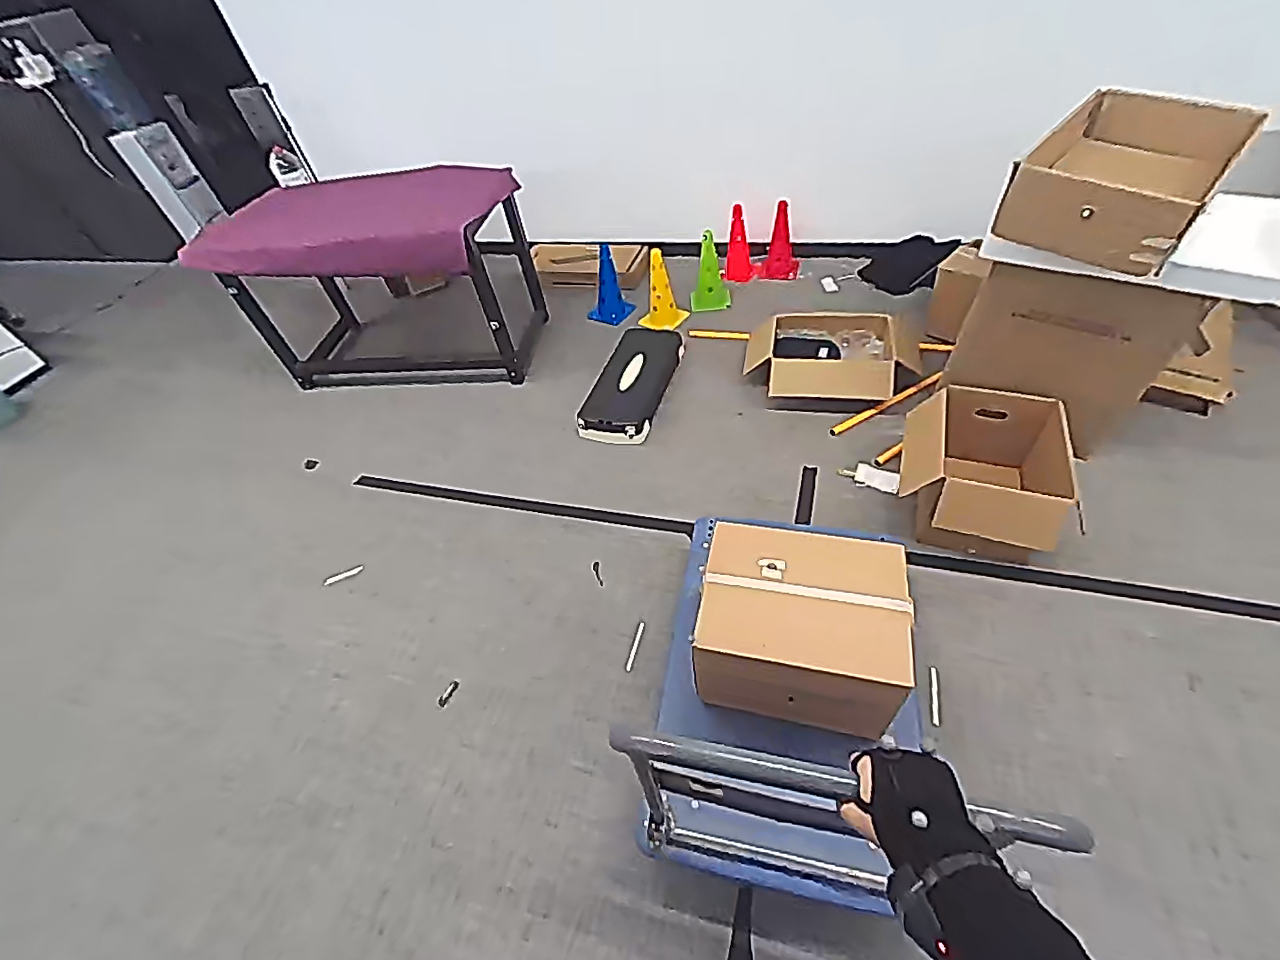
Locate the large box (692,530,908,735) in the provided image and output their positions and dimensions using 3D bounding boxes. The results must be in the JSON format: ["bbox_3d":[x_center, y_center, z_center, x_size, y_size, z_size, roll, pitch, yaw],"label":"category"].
[{"bbox_3d":[0.350,0.344,1.230,0.408,0.320,0.320,5,48,15],"label":"large box"}]
